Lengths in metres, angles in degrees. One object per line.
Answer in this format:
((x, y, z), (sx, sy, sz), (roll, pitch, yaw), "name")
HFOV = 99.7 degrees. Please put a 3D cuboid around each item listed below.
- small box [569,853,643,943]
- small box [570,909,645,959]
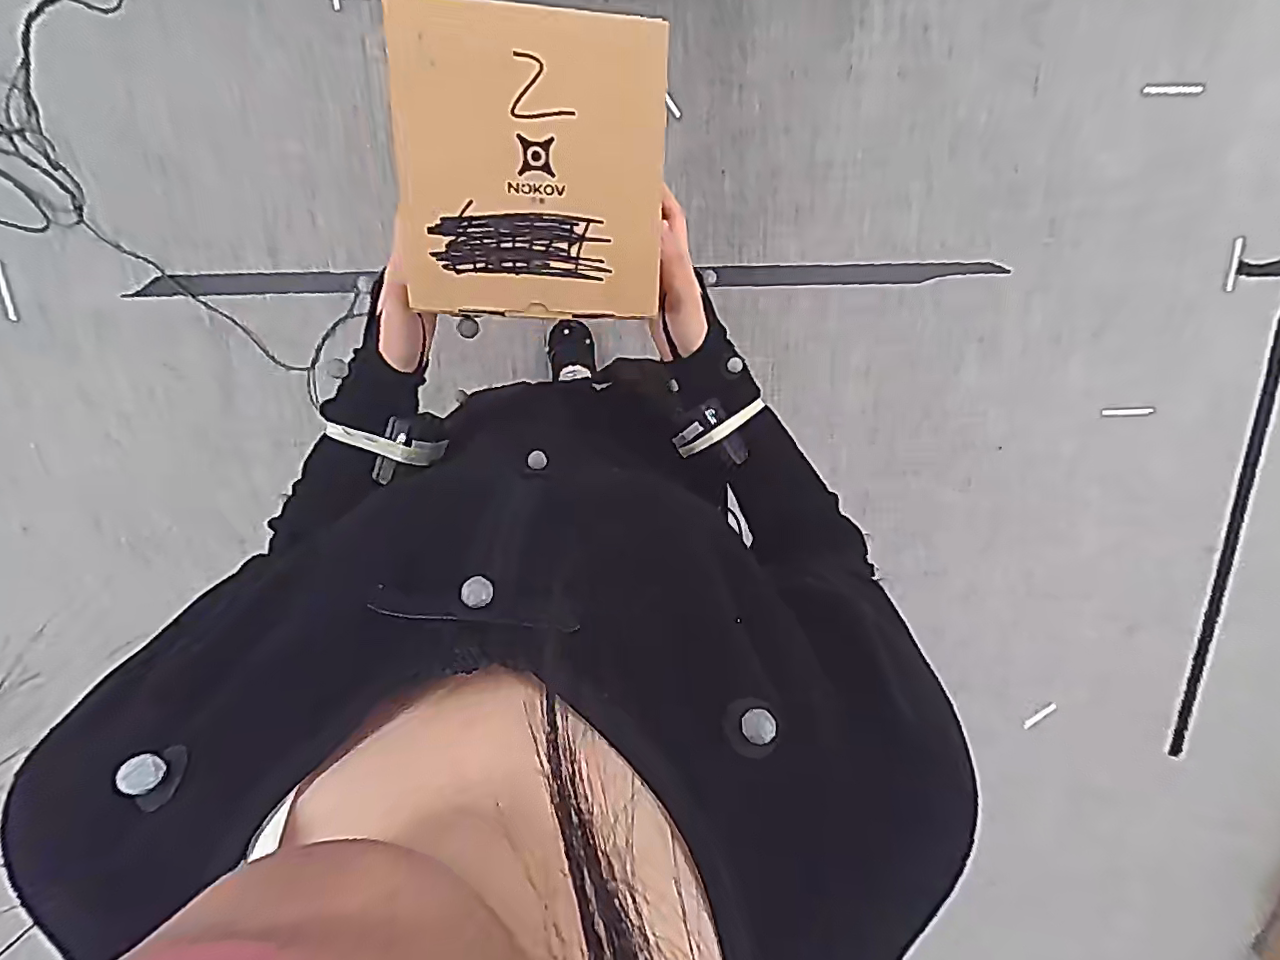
((-0.085, 1.101, 1.392), (0.179, 0.176, 0.168), (-4, 103, -2), "small box")
((-0.071, 1.131, 1.233), (0.168, 0.176, 0.179), (-3, 103, -3), "small box")
